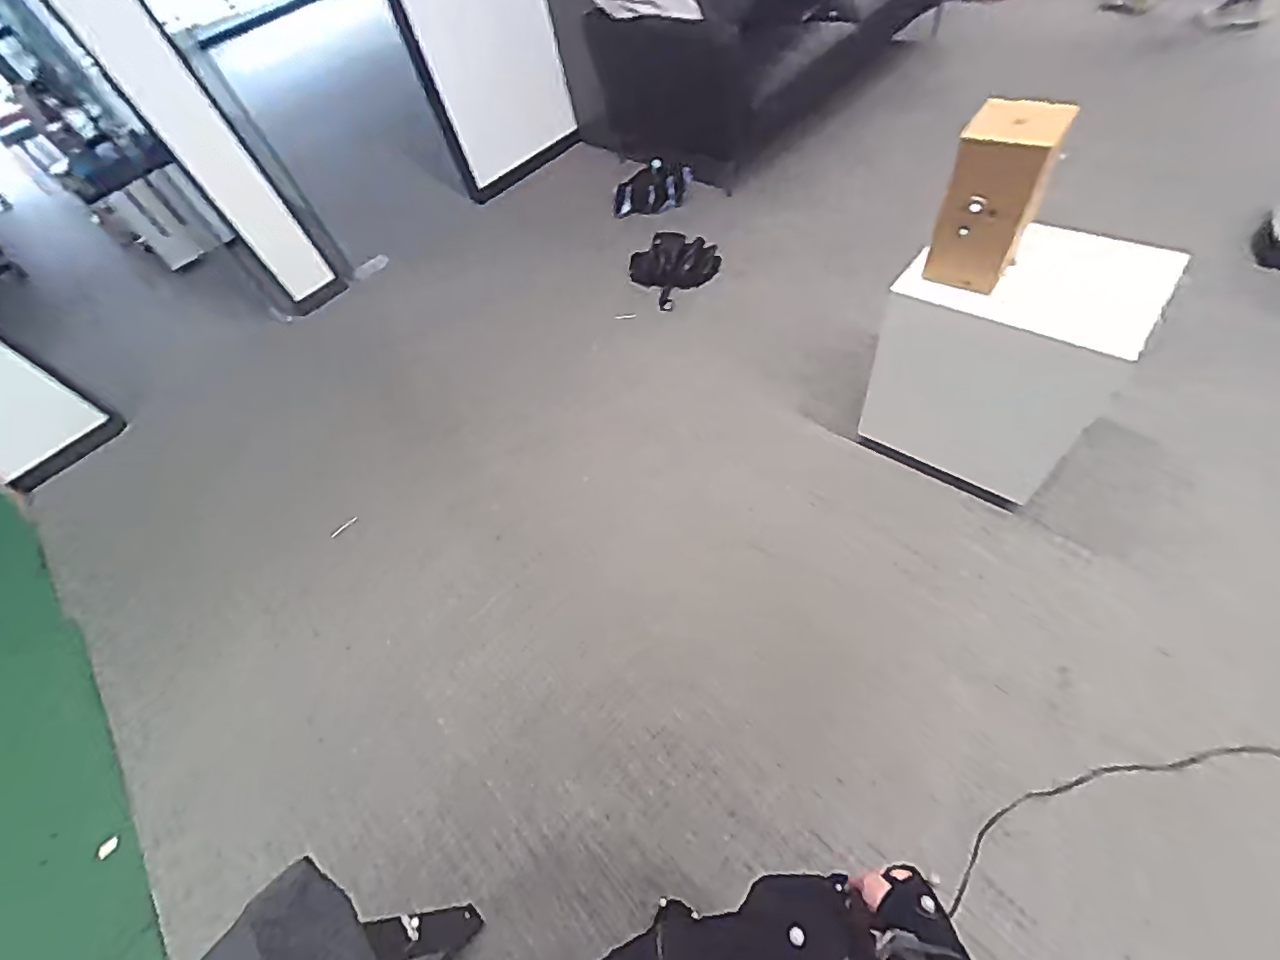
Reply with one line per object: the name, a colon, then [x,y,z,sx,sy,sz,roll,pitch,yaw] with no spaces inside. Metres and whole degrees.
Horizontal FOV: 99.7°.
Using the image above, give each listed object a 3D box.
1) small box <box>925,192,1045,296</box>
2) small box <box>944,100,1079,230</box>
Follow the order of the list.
small box: [0.794,-0.565,1.261,0.168,0.176,0.179,29,65,28]
small box: [0.765,-0.658,1.130,0.168,0.176,0.179,26,64,28]
